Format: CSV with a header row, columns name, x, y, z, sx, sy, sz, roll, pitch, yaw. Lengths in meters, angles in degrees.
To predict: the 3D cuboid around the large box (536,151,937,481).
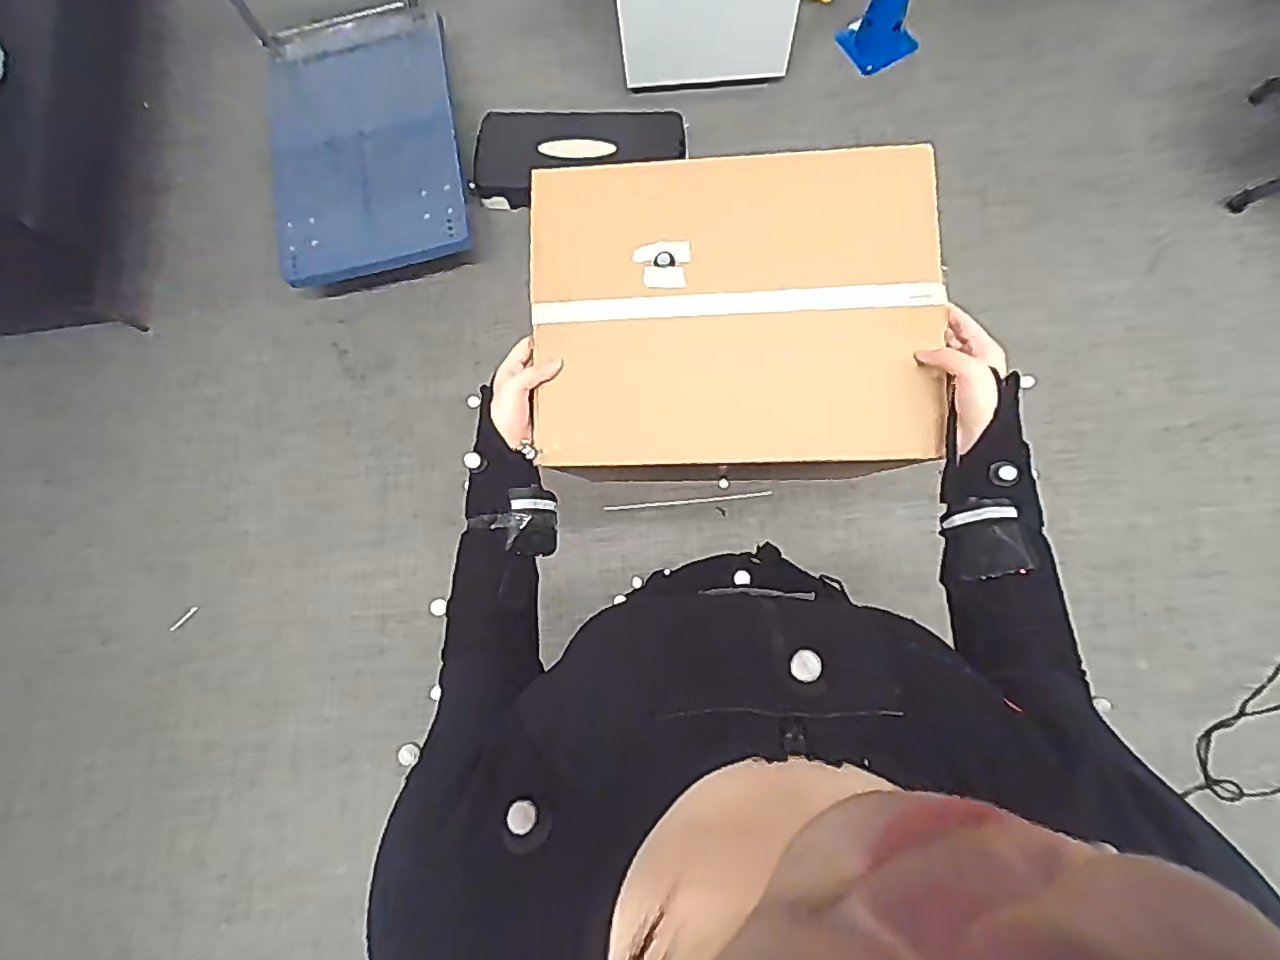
name,x,y,z,sx,sy,sz,roll,pitch,yaw
large box,0.106,-0.163,0.702,0.408,0.320,0.320,-1,86,6
